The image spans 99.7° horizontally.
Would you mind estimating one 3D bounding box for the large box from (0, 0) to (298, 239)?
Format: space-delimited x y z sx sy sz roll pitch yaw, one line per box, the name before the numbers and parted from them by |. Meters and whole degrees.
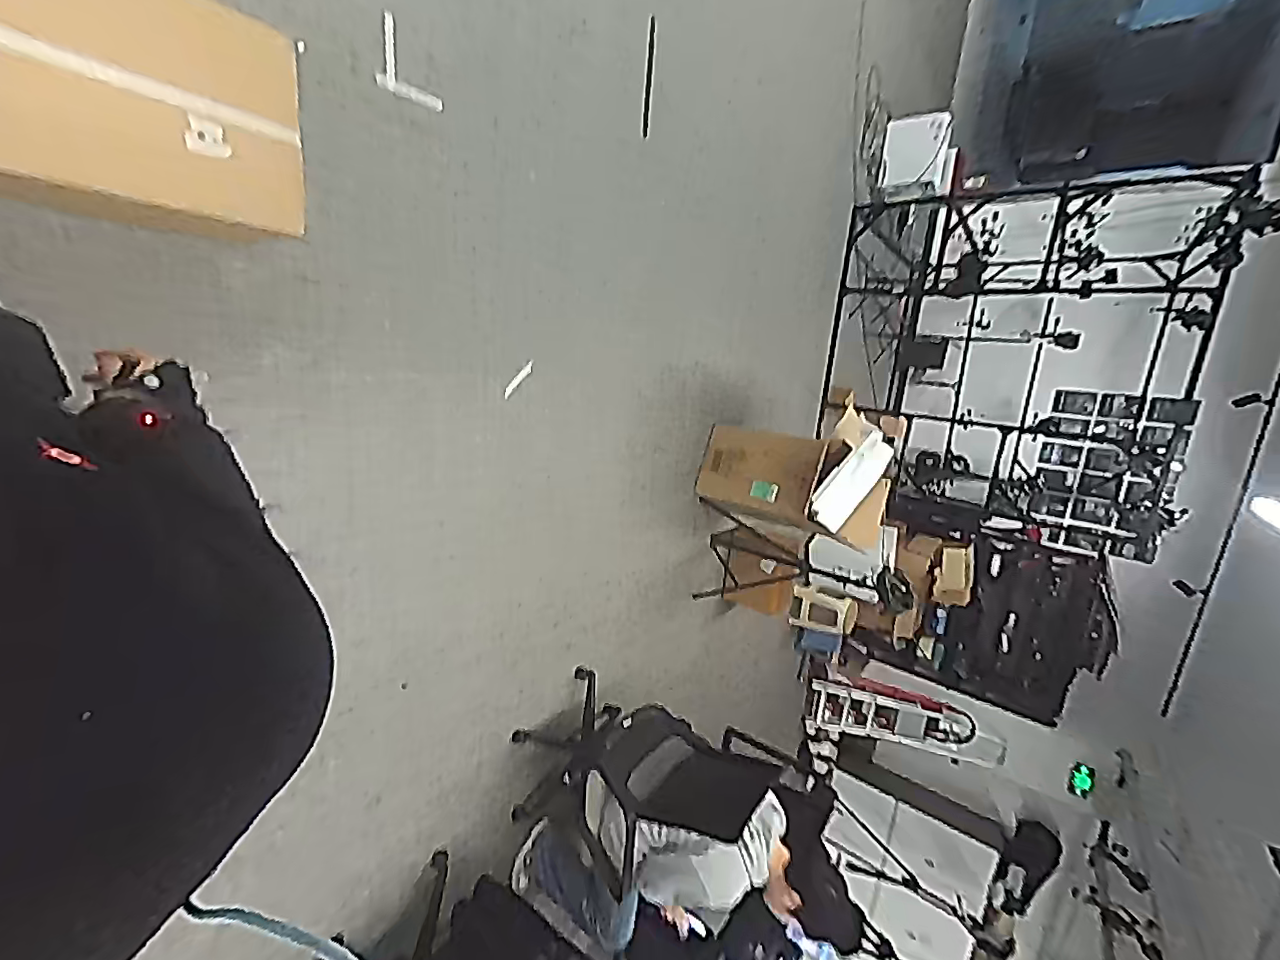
large box | -0.837 -0.594 0.855 0.408 0.320 0.320 -12 111 -54
